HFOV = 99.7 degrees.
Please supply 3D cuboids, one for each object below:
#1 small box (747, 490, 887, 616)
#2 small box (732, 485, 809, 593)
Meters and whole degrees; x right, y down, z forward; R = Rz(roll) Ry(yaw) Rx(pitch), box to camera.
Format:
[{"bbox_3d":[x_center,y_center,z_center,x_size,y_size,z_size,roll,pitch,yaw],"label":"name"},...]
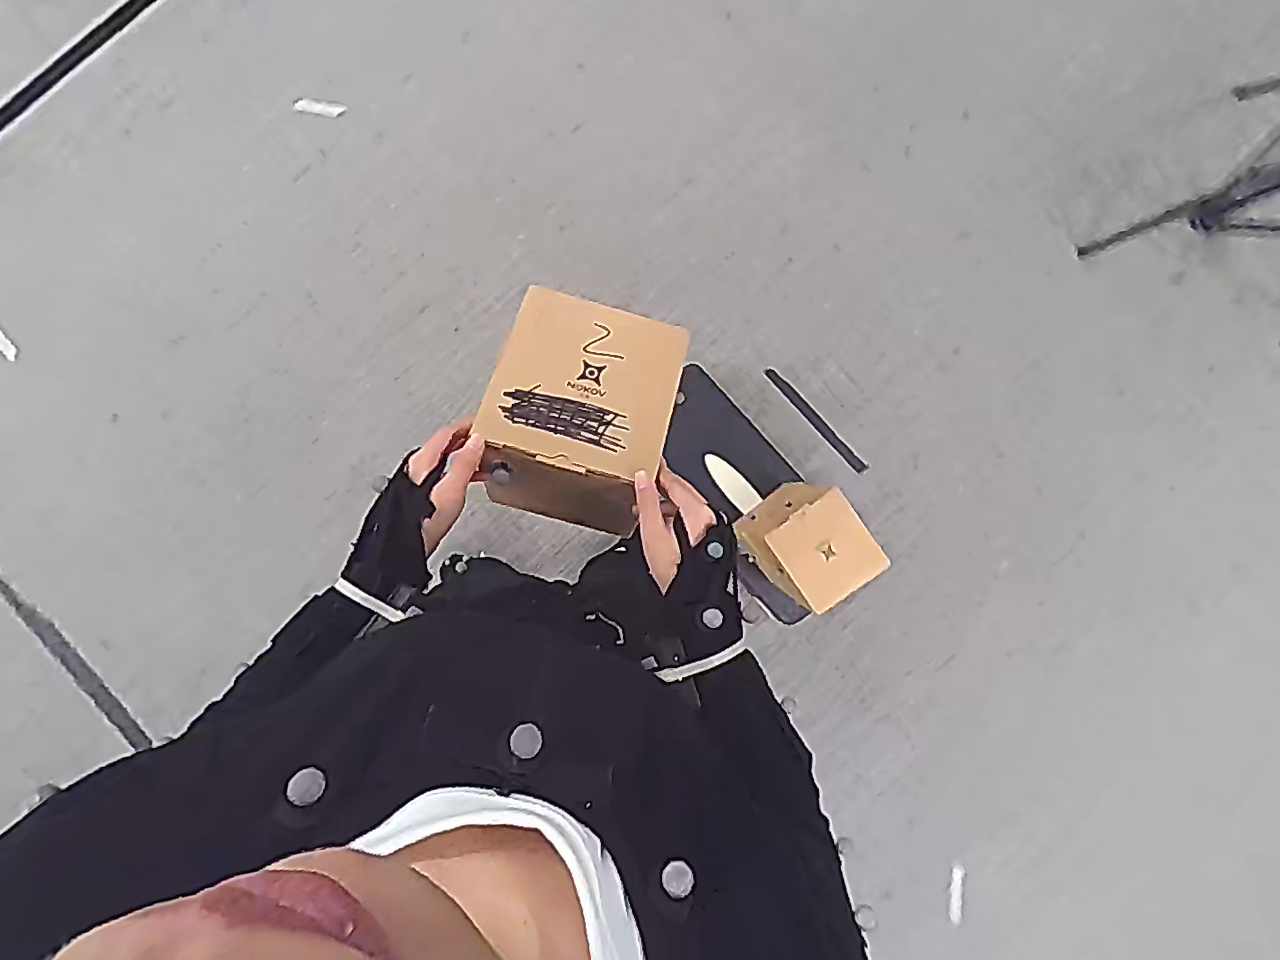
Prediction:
[{"bbox_3d":[0.333,0.132,1.051,0.168,0.176,0.179,-34,88,-1],"label":"small box"},{"bbox_3d":[0.324,0.127,1.214,0.179,0.176,0.168,-37,90,-1],"label":"small box"}]
